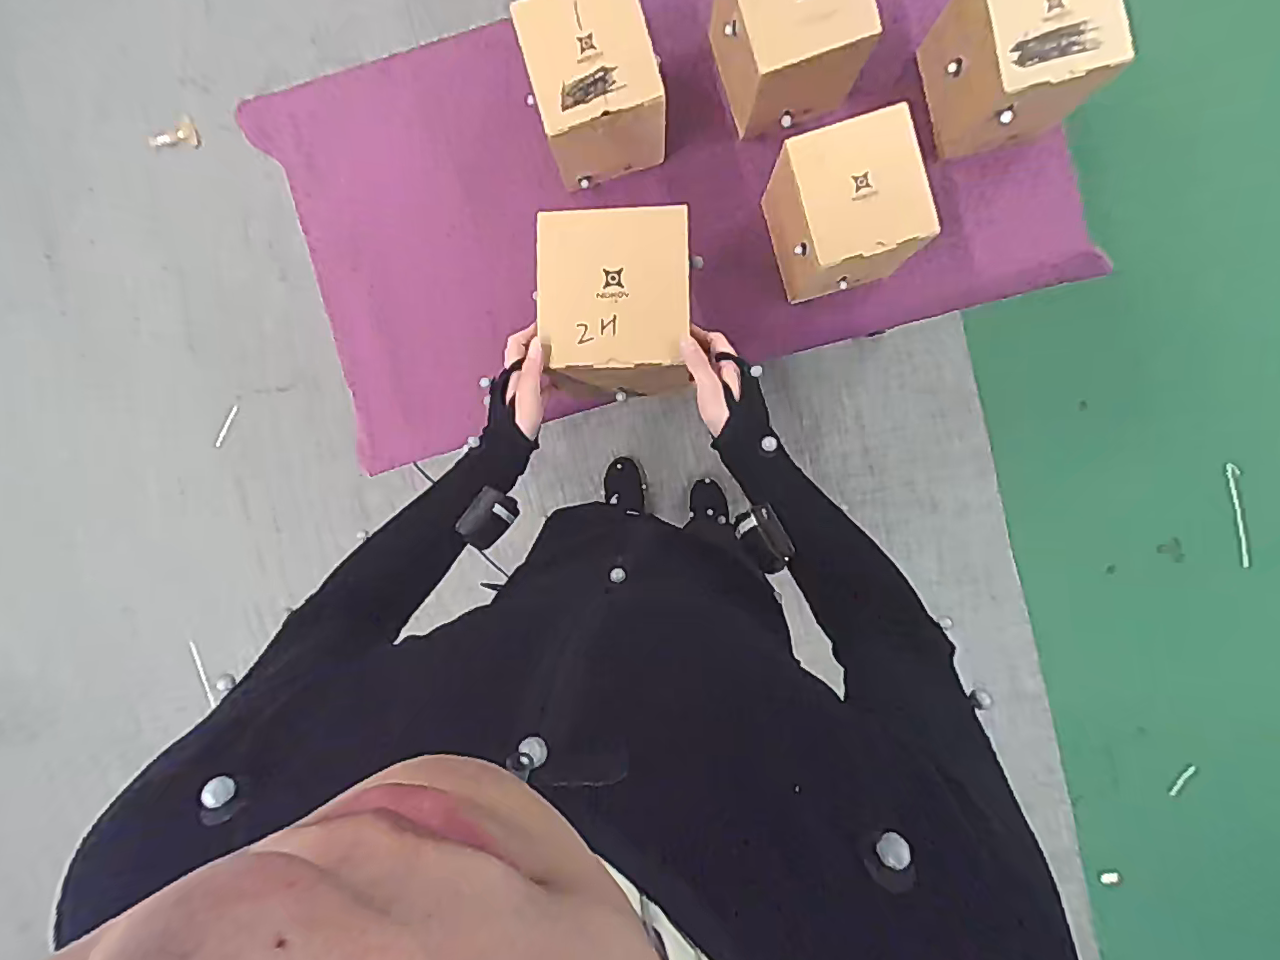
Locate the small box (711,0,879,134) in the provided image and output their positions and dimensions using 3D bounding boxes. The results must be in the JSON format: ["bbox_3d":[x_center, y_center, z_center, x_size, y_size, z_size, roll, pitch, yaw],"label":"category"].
[{"bbox_3d":[0.206,-0.645,0.770,0.168,0.176,0.179,-17,95,3],"label":"small box"}]

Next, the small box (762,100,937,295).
[{"bbox_3d":[0.289,-0.395,0.786,0.168,0.176,0.179,-16,93,2],"label":"small box"}]

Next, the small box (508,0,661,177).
[{"bbox_3d":[-0.069,-0.569,0.778,0.168,0.176,0.179,-16,93,2],"label":"small box"}]

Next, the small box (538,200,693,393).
[{"bbox_3d":[-0.023,-0.209,0.654,0.168,0.176,0.179,0,88,3],"label":"small box"}]
